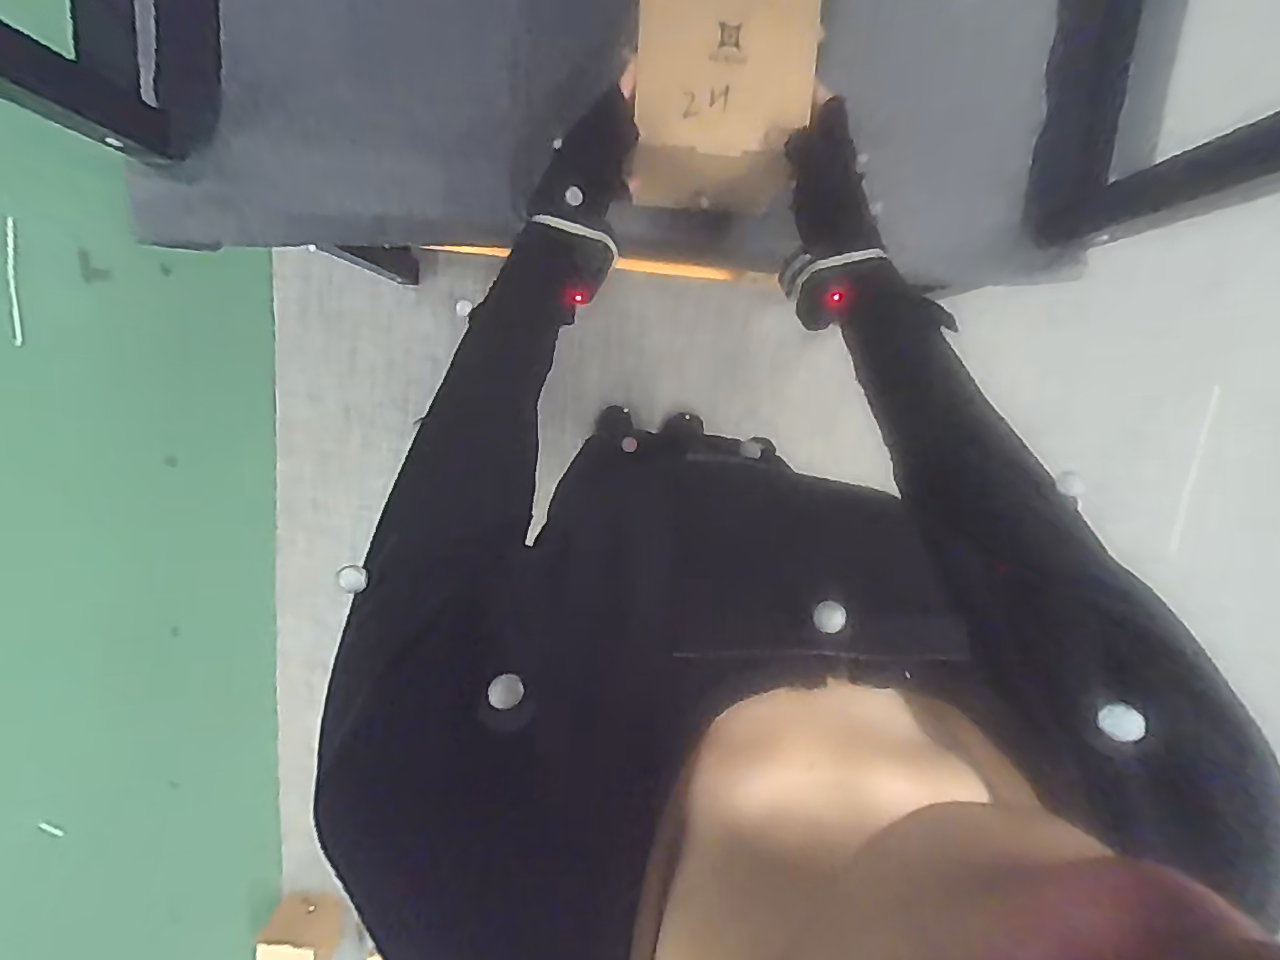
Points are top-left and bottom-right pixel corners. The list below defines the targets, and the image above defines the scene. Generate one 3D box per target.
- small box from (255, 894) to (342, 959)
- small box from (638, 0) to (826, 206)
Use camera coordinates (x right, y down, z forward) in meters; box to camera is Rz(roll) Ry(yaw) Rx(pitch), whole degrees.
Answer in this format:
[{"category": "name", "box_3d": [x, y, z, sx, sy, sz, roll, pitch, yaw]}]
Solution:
[{"category": "small box", "box_3d": [-1.023, 1.403, 1.628, 0.168, 0.176, 0.179, 7, 99, -2]}, {"category": "small box", "box_3d": [0.085, -0.417, 0.575, 0.168, 0.176, 0.179, 3, 100, -1]}]
